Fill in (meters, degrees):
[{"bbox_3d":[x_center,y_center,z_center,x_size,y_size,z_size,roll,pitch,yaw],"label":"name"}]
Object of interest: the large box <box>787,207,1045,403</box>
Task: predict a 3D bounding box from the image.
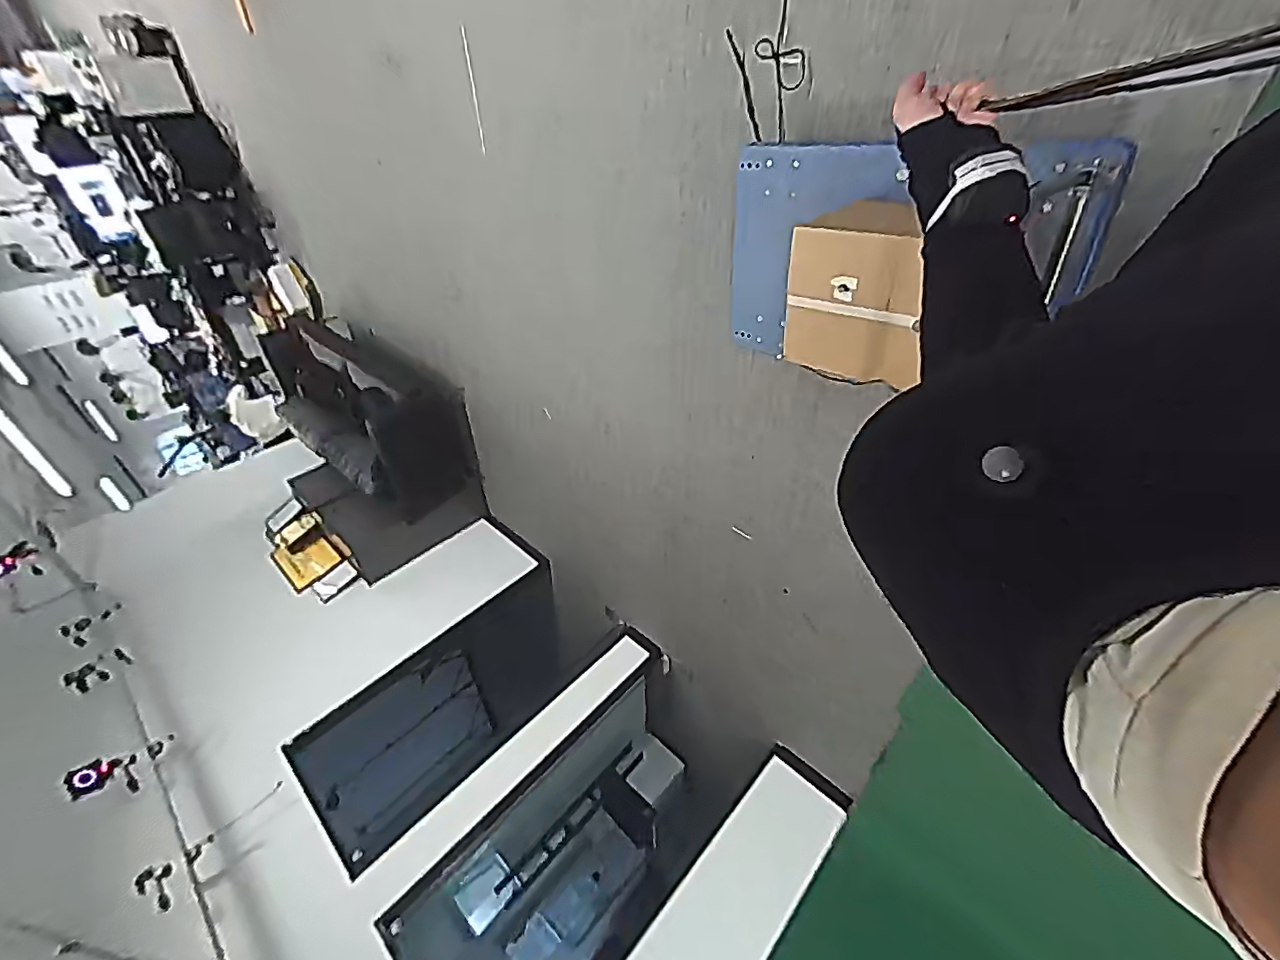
[{"bbox_3d":[0.596,-0.415,1.216,0.408,0.320,0.320,27,135,37],"label":"large box"}]
